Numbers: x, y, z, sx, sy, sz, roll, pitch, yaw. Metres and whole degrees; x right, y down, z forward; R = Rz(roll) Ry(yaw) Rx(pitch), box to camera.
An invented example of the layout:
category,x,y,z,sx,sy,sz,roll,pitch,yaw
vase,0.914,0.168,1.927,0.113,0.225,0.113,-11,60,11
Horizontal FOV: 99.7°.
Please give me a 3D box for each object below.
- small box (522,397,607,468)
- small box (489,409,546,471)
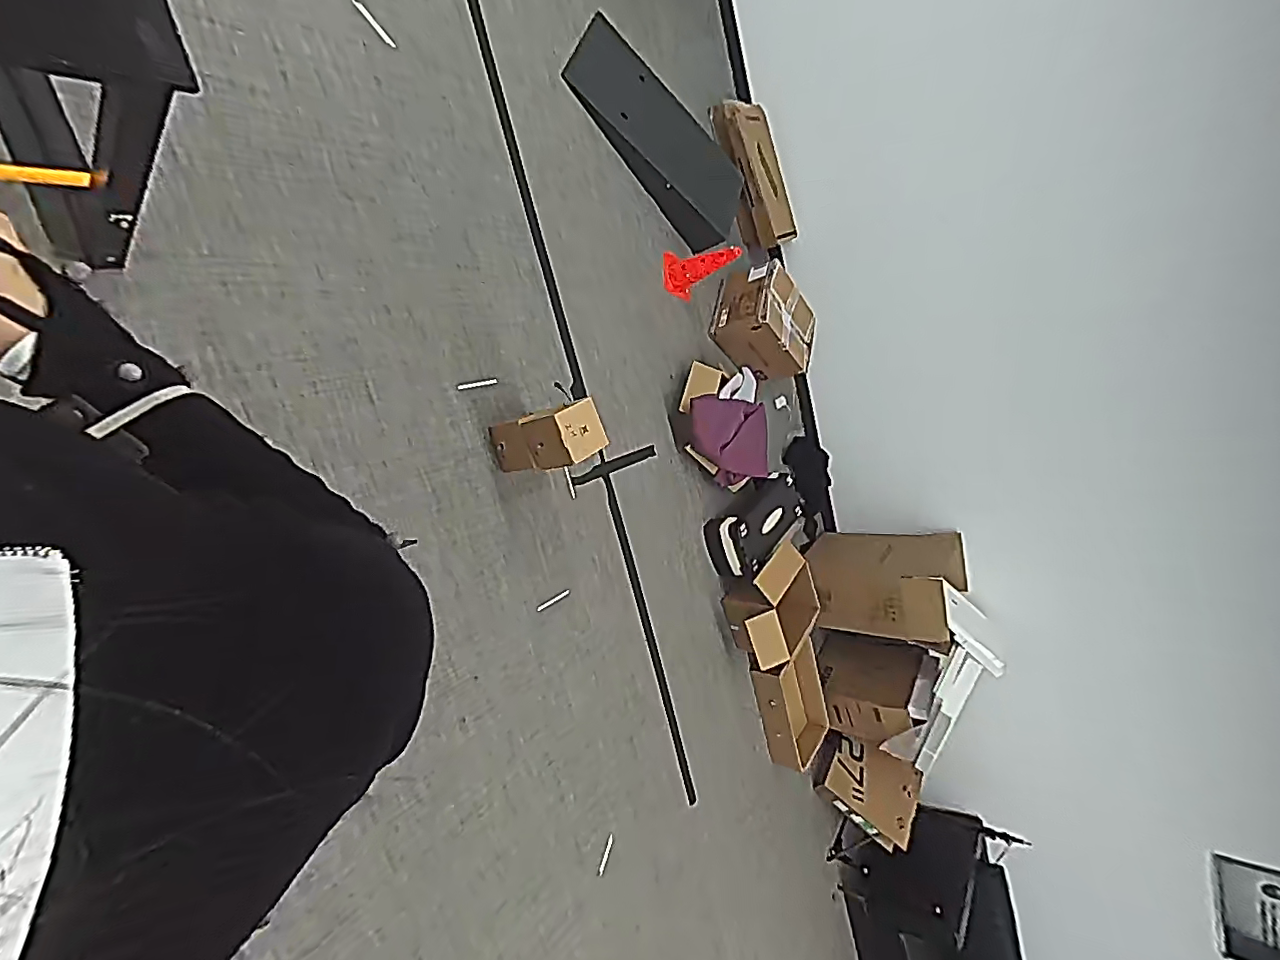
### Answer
category,x,y,z,sx,sy,sz,roll,pitch,yaw
small box,-0.241,-0.150,1.716,0.179,0.176,0.168,-36,111,-44
small box,-0.372,-0.137,1.816,0.179,0.176,0.168,-29,107,-45
